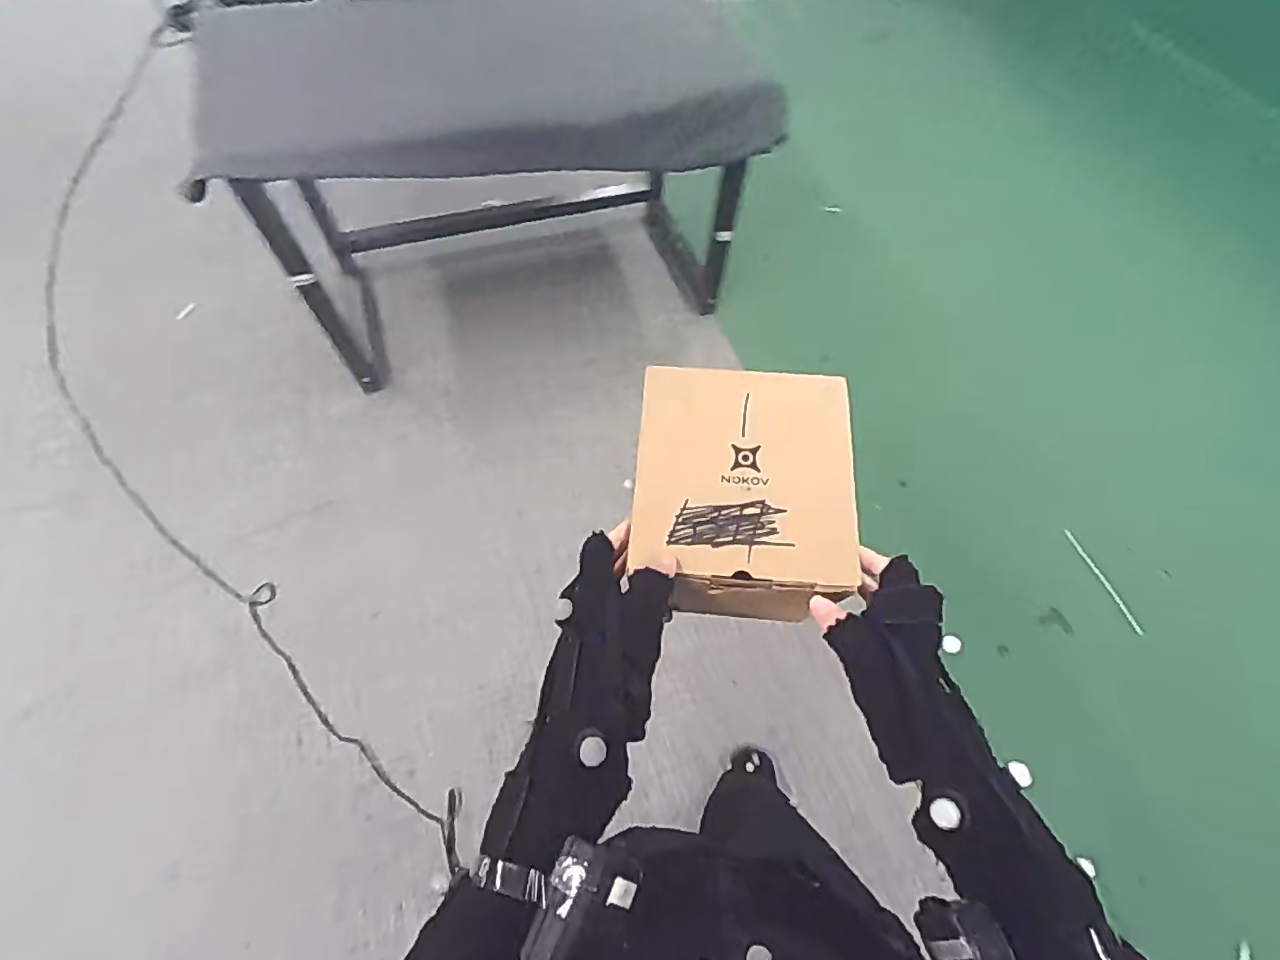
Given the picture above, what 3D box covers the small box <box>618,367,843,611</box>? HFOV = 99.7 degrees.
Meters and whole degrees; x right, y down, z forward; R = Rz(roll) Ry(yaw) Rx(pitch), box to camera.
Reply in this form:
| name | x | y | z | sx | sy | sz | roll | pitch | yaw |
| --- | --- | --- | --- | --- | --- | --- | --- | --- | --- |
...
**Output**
| name | x | y | z | sx | sy | sz | roll | pitch | yaw |
| --- | --- | --- | --- | --- | --- | --- | --- | --- | --- |
| small box | 0.074 | 0.019 | 0.495 | 0.168 | 0.176 | 0.179 | 3 | 67 | 3 |
